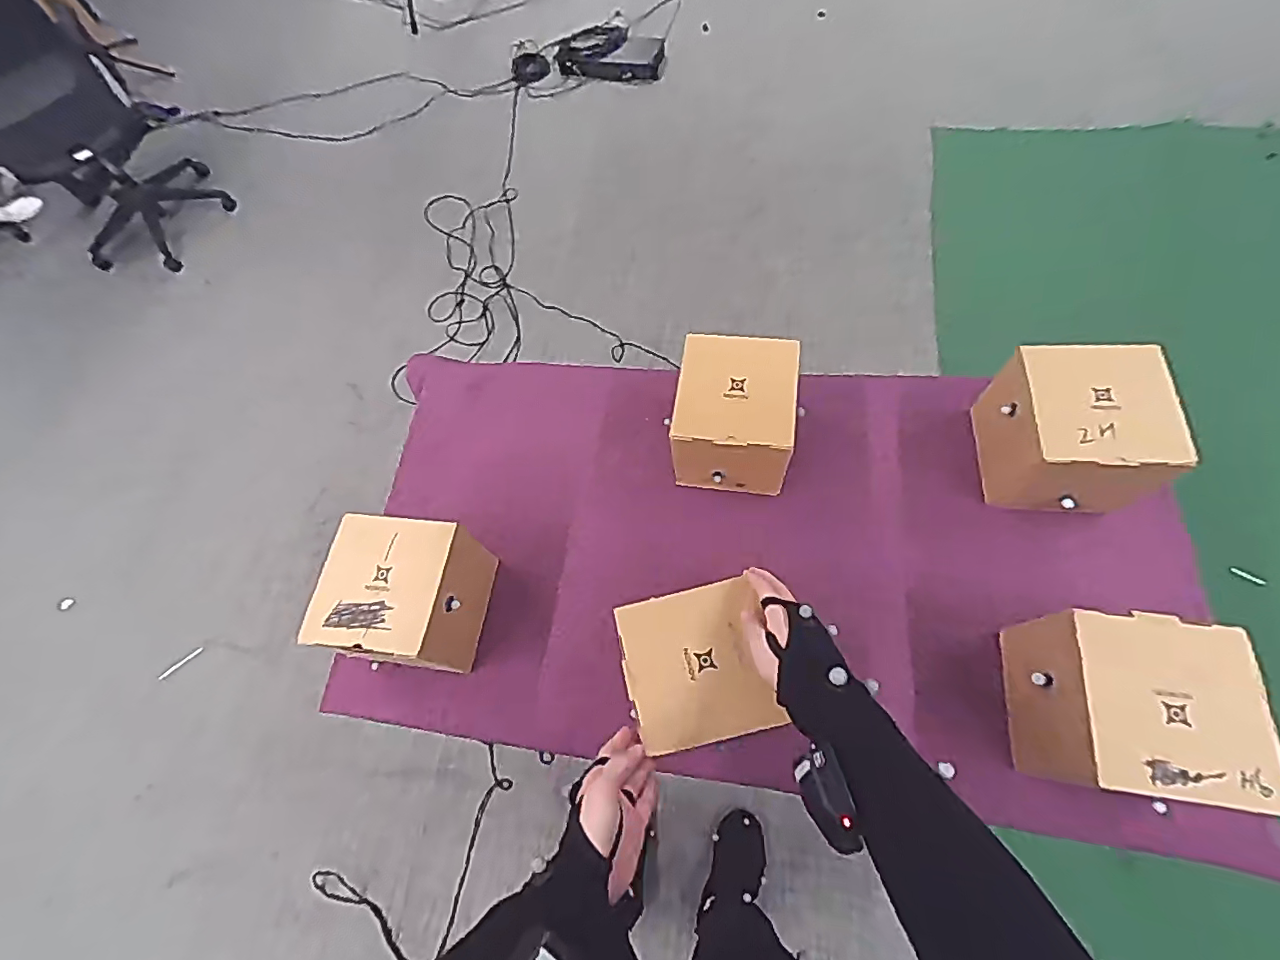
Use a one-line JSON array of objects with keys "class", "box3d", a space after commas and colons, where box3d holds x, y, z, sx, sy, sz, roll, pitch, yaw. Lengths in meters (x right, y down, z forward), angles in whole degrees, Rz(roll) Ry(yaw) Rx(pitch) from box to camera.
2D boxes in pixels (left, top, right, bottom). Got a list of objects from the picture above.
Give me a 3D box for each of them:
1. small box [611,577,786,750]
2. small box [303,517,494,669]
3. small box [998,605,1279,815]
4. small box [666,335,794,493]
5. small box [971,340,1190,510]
[{"class": "small box", "box3d": [0.075, 0.235, 0.690, 0.179, 0.176, 0.168, -13, 68, 5]}, {"class": "small box", "box3d": [-0.329, 0.168, 0.778, 0.168, 0.176, 0.179, 4, 66, 9]}, {"class": "small box", "box3d": [0.537, 0.254, 0.616, 0.168, 0.176, 0.179, 4, 68, 11]}, {"class": "small box", "box3d": [0.136, -0.097, 0.829, 0.168, 0.176, 0.179, 6, 70, 10]}, {"class": "small box", "box3d": [0.584, -0.072, 0.749, 0.168, 0.176, 0.179, 2, 68, 12]}]
